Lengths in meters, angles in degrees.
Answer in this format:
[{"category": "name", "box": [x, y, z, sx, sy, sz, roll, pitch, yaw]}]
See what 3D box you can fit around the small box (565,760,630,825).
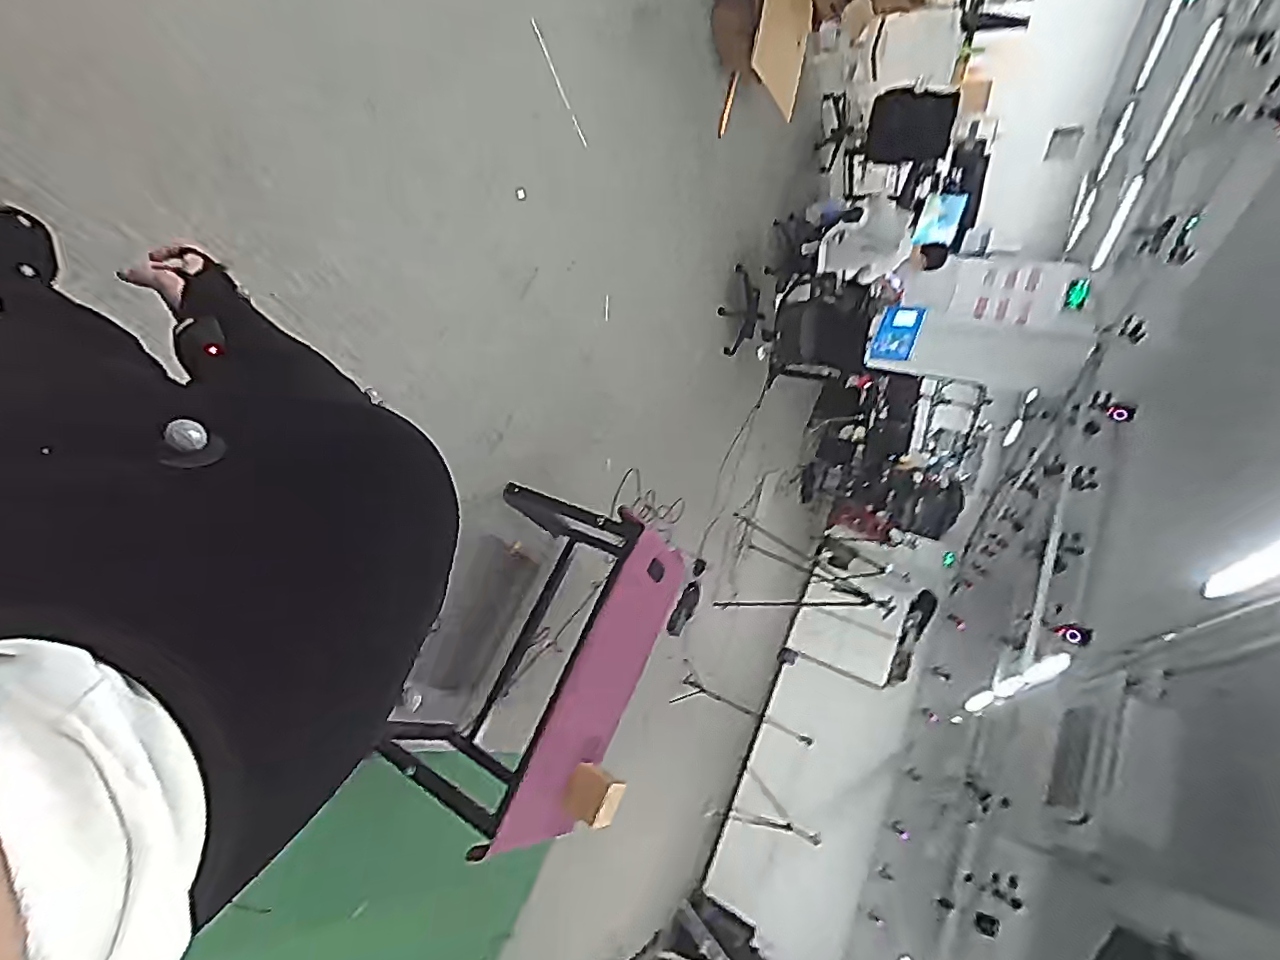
[{"category": "small box", "box": [-0.168, 1.234, 2.145, 0.168, 0.176, 0.179, -64, 151, -18]}]
